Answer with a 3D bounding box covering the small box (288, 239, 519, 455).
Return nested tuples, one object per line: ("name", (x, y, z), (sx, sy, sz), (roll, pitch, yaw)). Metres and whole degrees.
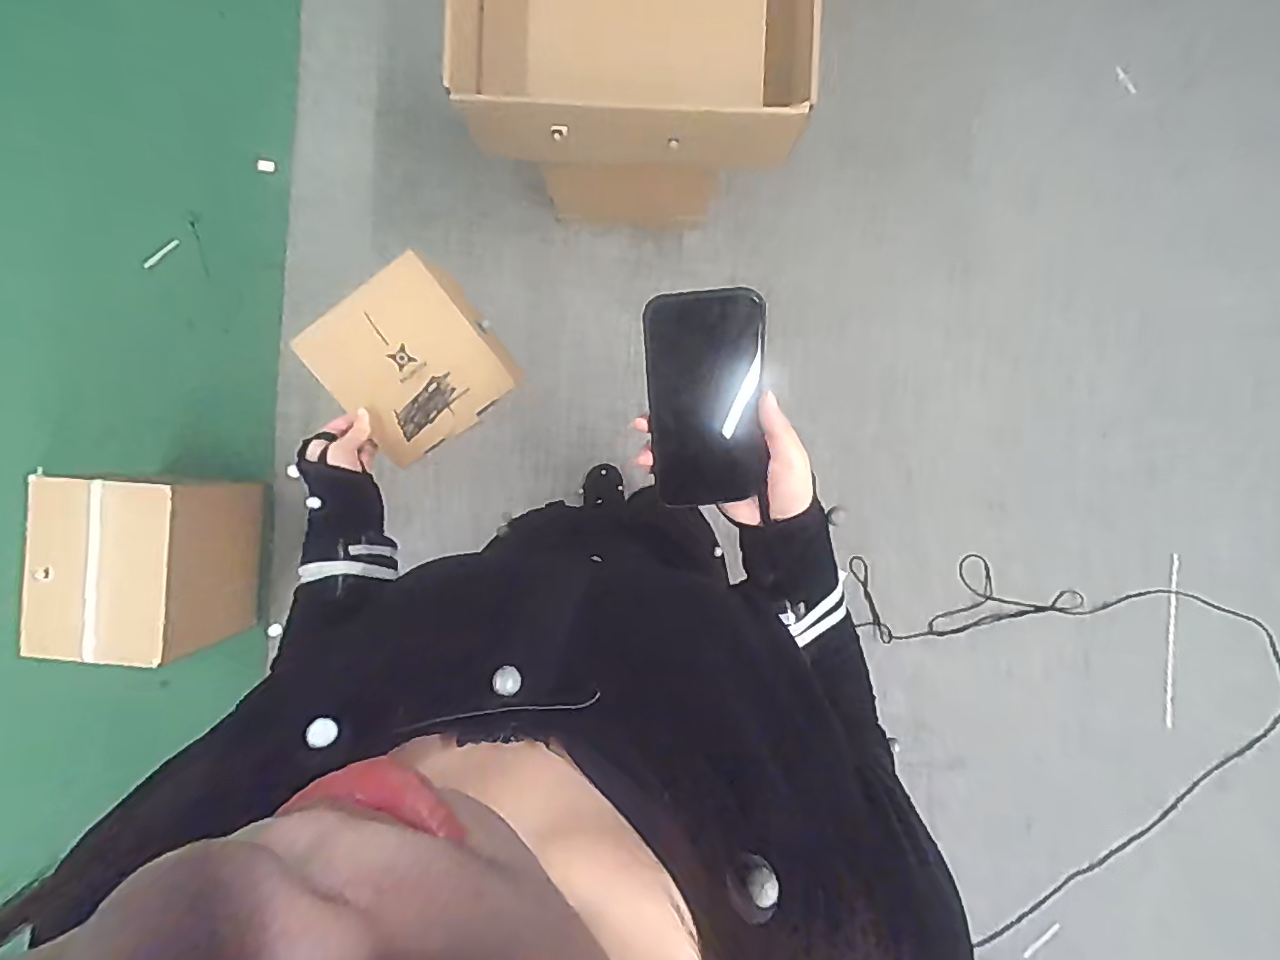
("small box", (-0.265, -0.162, 0.660), (0.168, 0.176, 0.179), (-36, 108, 3))
